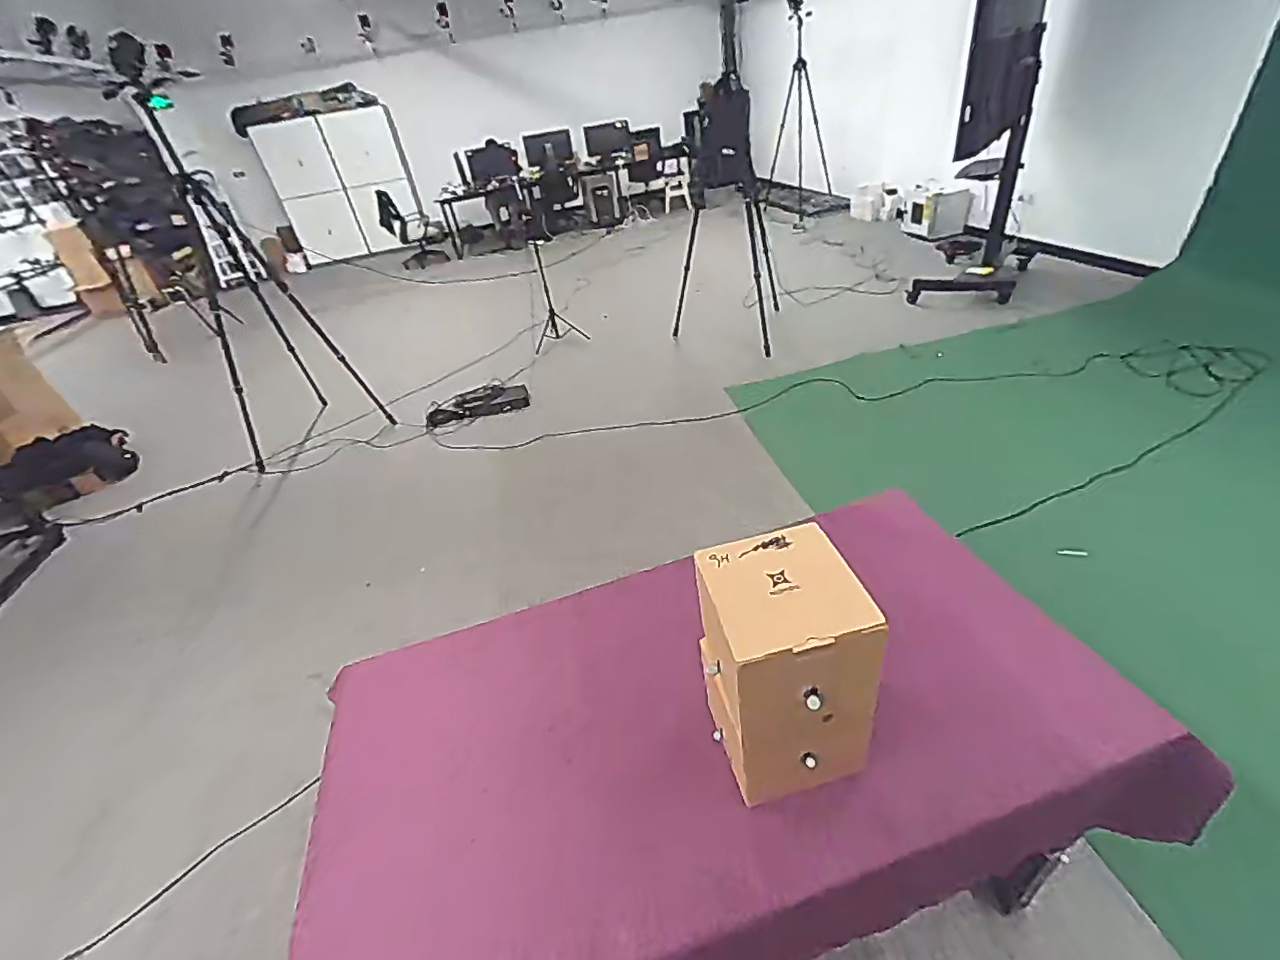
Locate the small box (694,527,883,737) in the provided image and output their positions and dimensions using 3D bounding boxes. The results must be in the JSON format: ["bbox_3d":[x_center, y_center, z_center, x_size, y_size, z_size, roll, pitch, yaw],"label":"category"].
[{"bbox_3d":[0.173,0.191,0.667,0.168,0.176,0.179,-13,36,-3],"label":"small box"}]
